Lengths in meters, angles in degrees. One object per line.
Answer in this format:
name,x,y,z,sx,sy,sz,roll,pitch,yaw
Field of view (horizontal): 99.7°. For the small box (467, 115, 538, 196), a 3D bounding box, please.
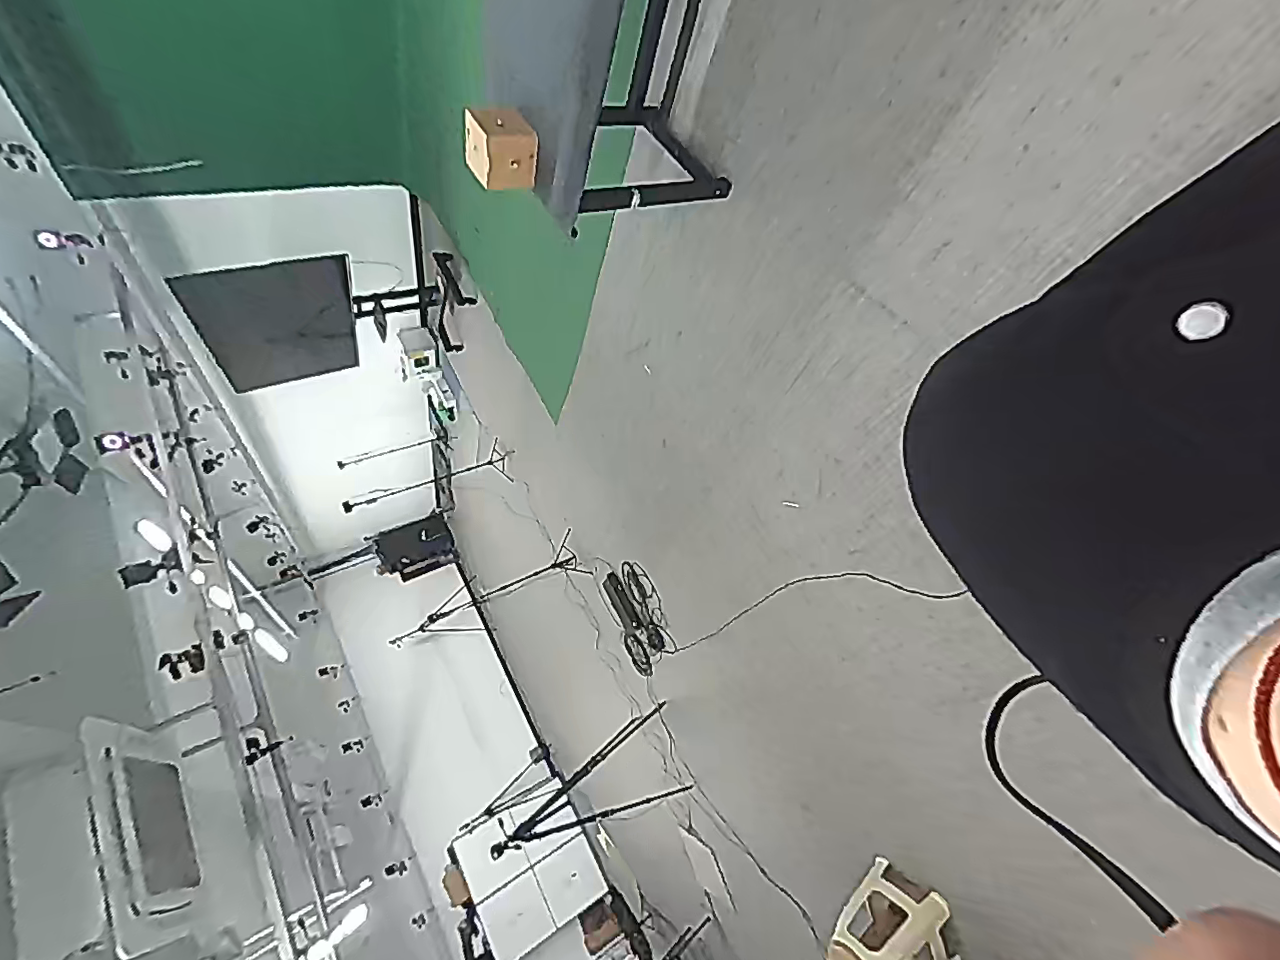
small box,-0.439,-1.041,1.729,0.179,0.176,0.168,55,148,23
